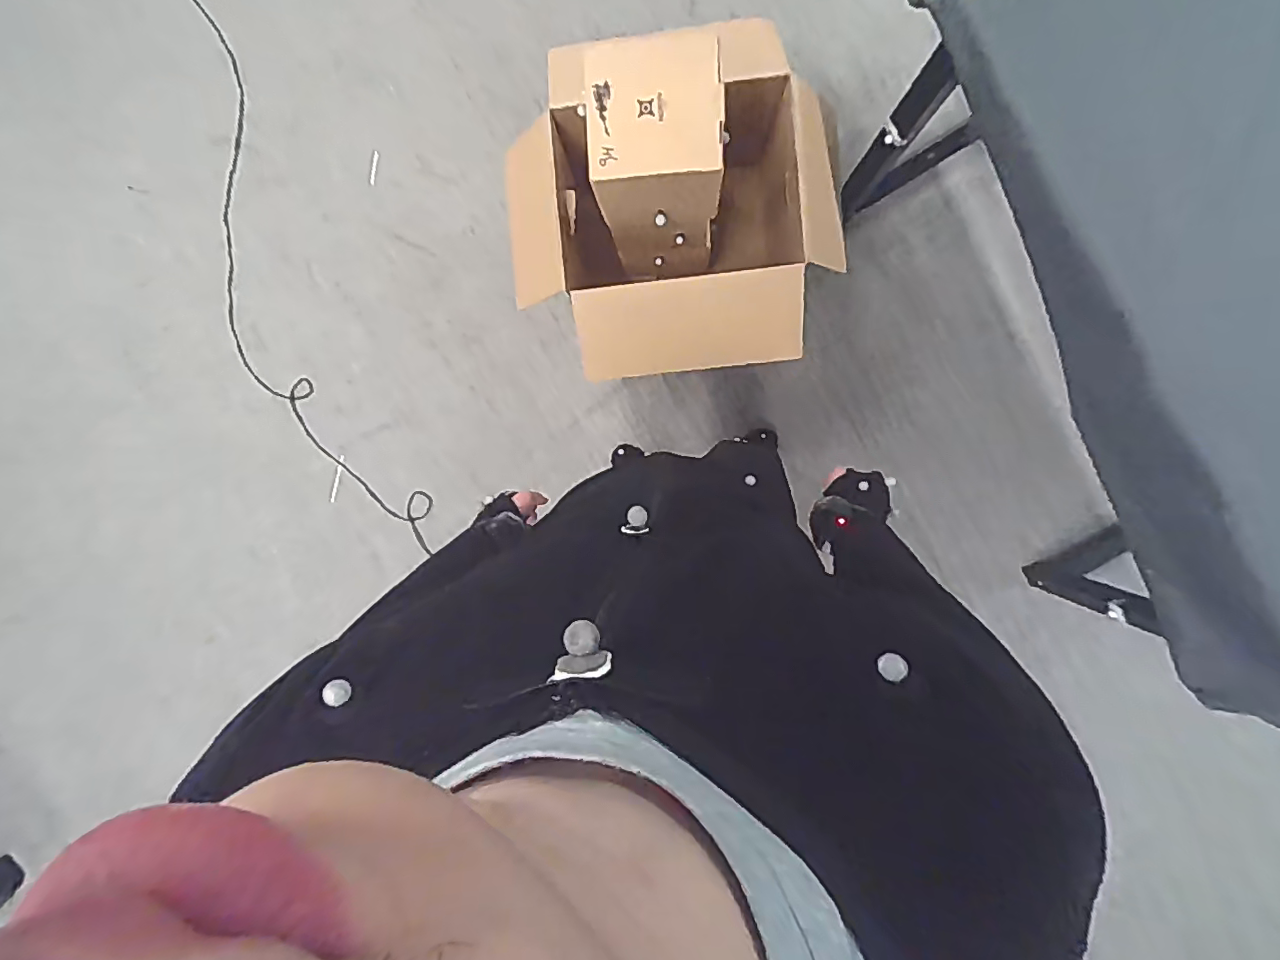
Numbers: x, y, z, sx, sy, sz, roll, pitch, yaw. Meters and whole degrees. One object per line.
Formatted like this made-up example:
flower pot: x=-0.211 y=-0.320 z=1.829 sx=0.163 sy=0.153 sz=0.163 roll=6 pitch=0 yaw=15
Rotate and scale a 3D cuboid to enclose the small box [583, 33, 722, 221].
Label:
small box: x=0.020 y=-0.482 z=0.763 sx=0.179 sy=0.176 sz=0.168 roll=-1 pitch=96 yaw=4
